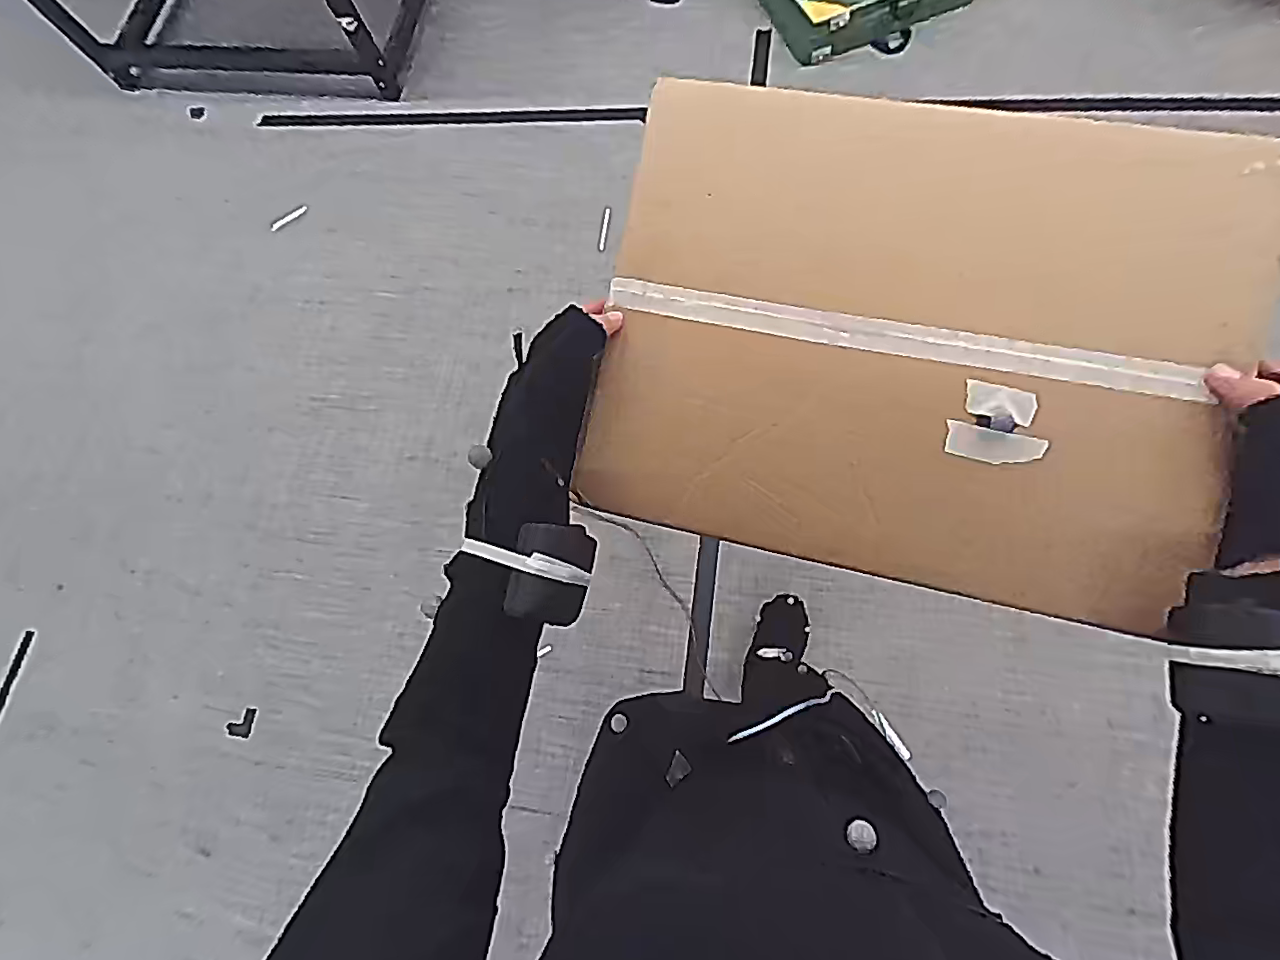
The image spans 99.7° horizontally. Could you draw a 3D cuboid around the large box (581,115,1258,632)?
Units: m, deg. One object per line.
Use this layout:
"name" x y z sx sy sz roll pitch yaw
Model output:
"large box" 0.194 -0.084 0.521 0.408 0.320 0.320 12 92 8
